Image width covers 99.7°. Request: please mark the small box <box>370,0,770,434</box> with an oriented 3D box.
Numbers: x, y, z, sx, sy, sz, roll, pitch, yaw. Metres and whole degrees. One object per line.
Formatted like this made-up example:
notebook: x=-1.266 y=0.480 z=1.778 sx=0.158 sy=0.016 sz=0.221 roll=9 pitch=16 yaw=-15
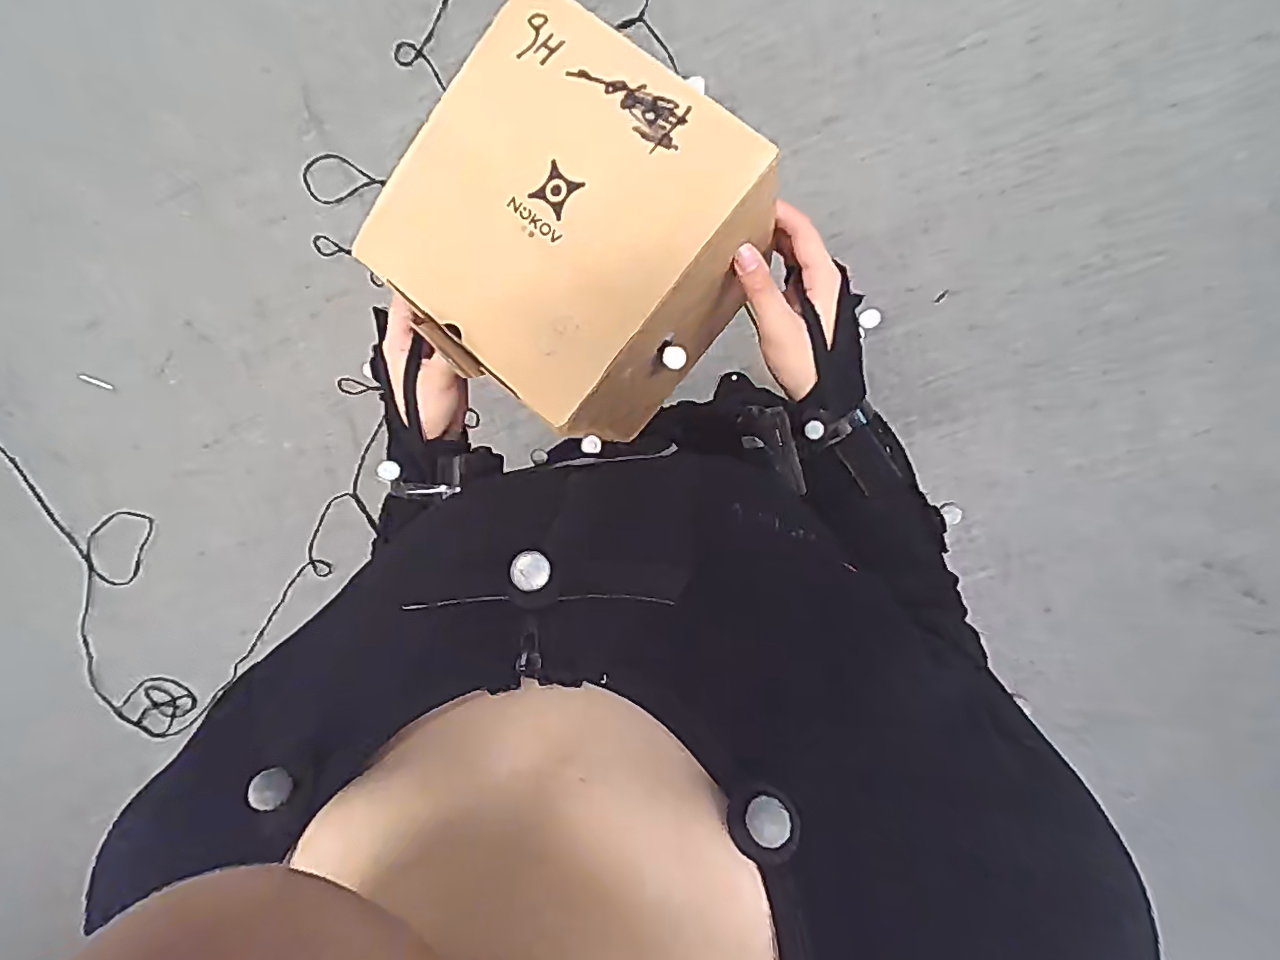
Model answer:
small box: x=-0.028 y=-0.144 z=0.368 sx=0.168 sy=0.176 sz=0.179 roll=41 pitch=100 yaw=7
